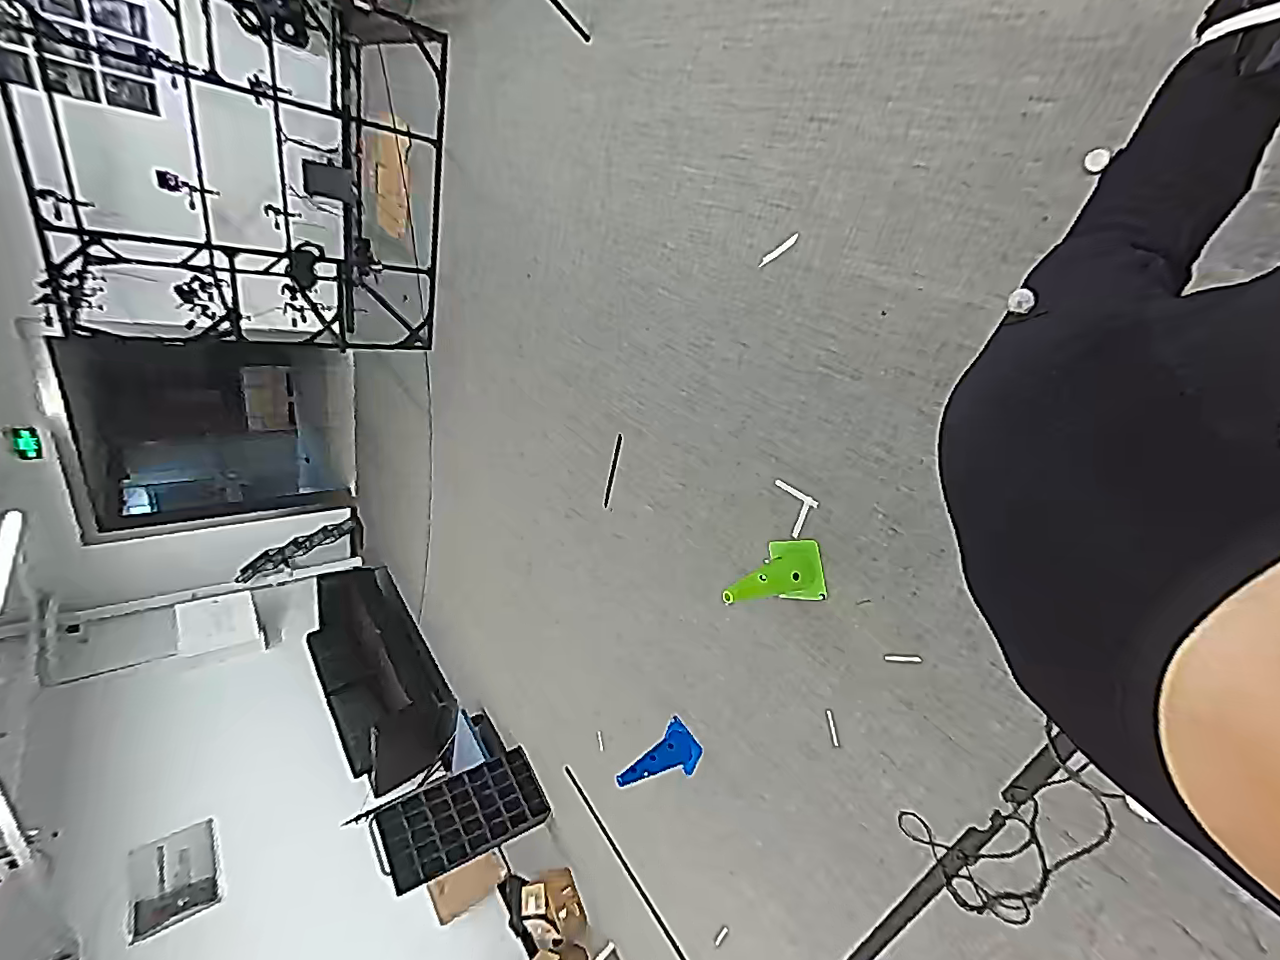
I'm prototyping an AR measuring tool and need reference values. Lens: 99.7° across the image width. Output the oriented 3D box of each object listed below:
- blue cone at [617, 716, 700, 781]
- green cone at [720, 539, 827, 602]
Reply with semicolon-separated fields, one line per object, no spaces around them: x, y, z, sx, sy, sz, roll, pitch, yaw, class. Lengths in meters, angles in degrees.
0.065;1.209;2.338;0.192;0.380;0.193;44;129;39;blue cone
0.397;0.320;1.721;0.202;0.368;0.200;-13;86;53;green cone
